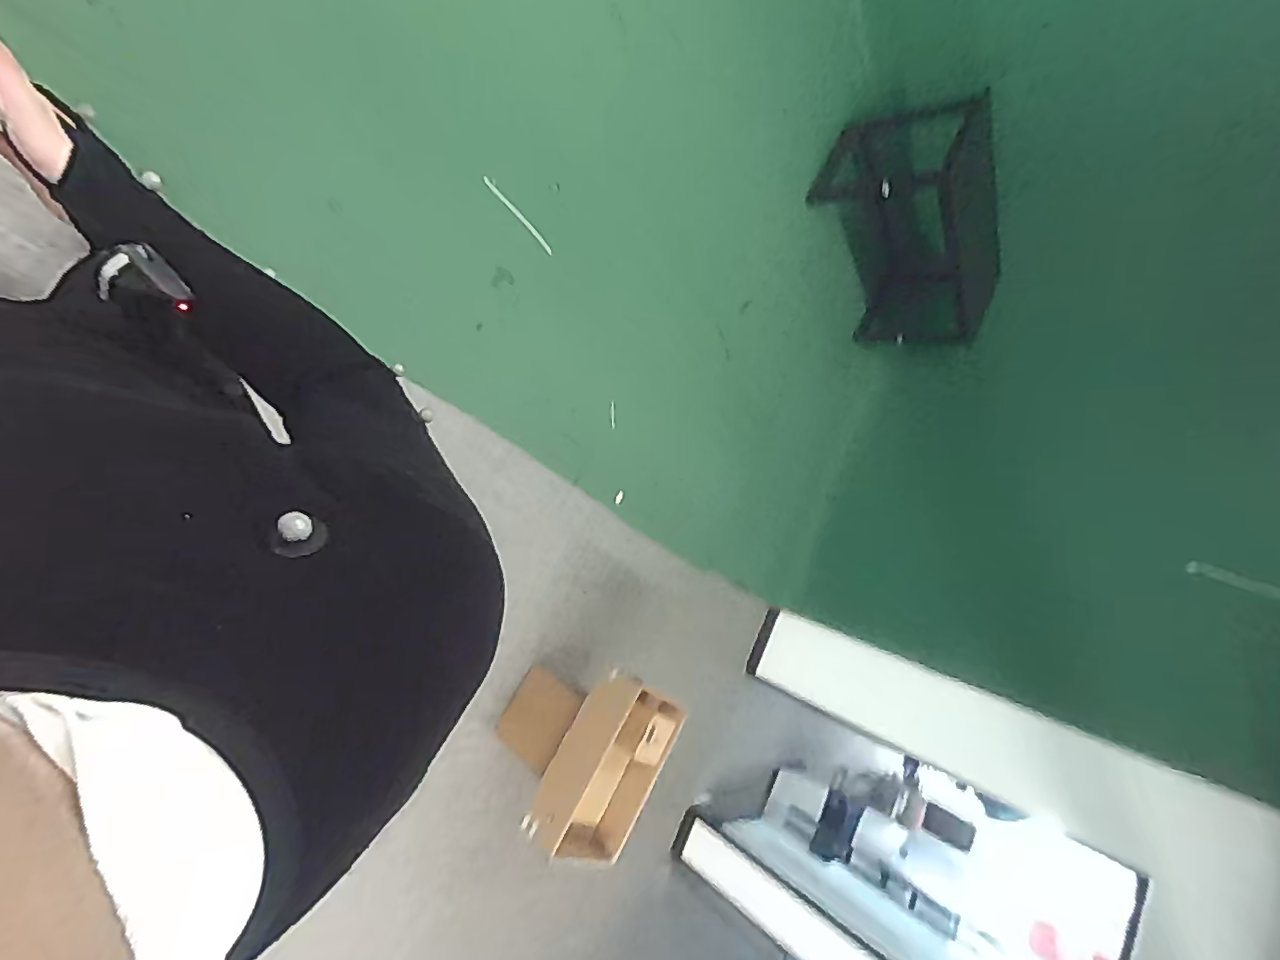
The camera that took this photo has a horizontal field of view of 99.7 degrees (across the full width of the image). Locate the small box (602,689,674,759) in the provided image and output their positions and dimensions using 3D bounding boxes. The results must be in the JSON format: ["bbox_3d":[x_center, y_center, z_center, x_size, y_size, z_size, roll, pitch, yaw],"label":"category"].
[{"bbox_3d":[-0.011,0.909,2.024,0.168,0.176,0.179,-58,137,-15],"label":"small box"}]
